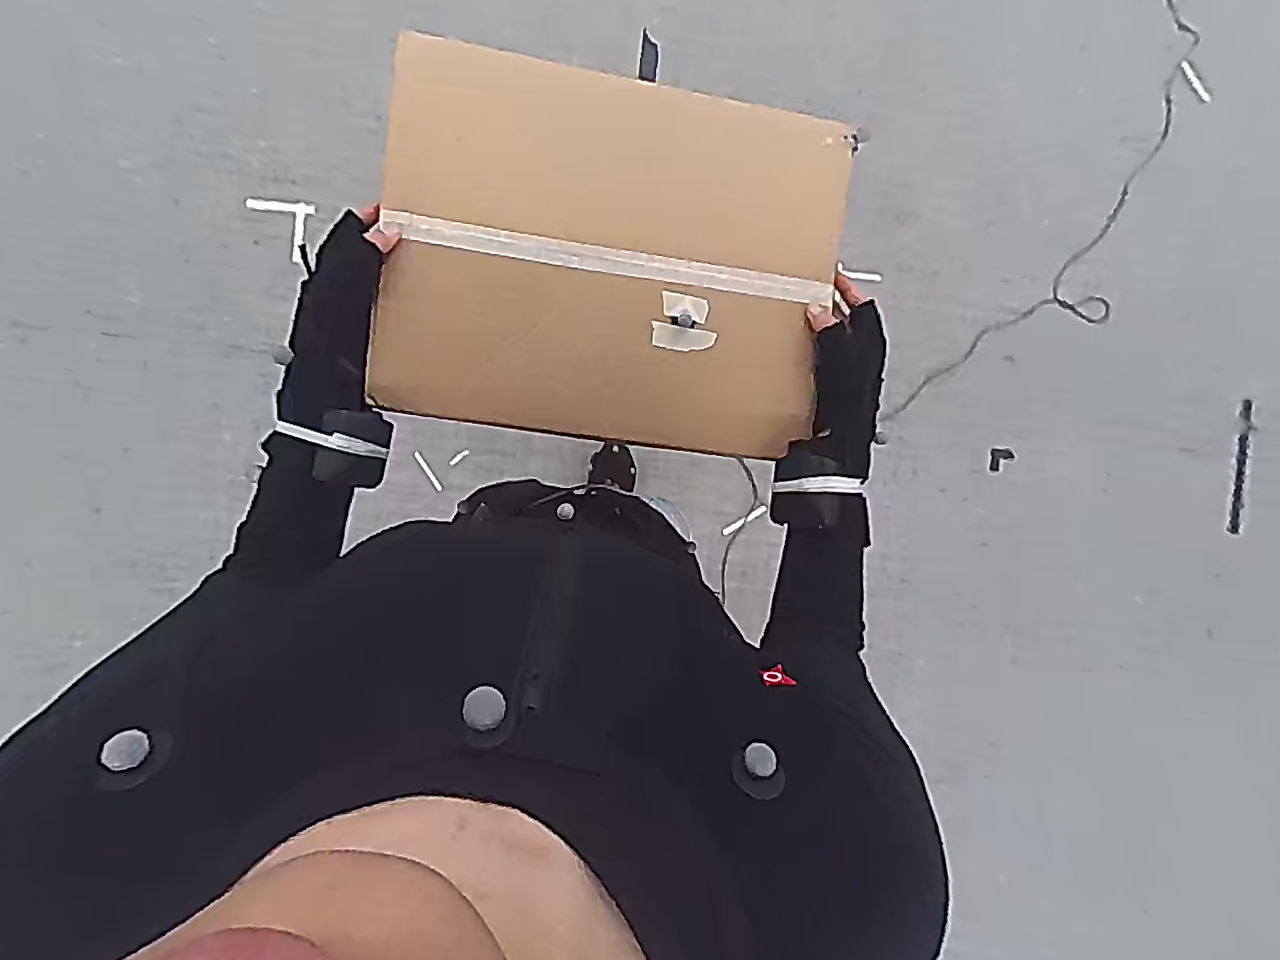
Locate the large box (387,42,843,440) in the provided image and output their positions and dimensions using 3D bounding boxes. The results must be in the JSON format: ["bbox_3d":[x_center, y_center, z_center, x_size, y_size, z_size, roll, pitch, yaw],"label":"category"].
[{"bbox_3d":[-0.037,-0.220,0.643,0.408,0.320,0.320,6,95,-7],"label":"large box"}]
